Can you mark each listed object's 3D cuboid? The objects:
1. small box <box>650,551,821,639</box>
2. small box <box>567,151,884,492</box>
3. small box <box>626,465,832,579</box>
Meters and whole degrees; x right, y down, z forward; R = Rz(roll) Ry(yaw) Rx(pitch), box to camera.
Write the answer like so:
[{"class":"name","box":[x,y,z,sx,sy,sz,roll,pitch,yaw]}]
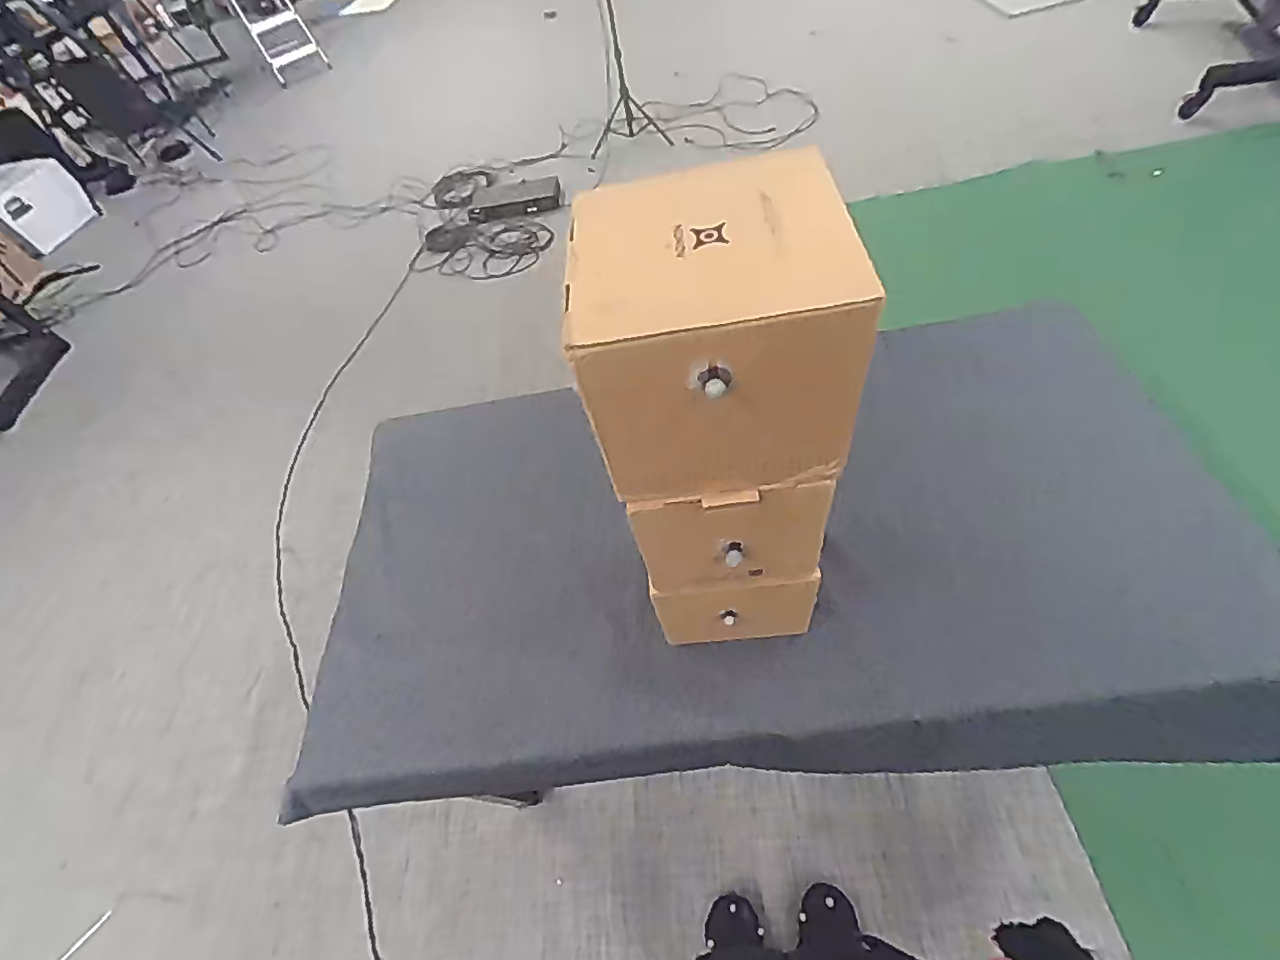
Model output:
[{"class":"small box","box":[0.108,0.085,0.661,0.179,0.176,0.168,-8,55,7]},{"class":"small box","box":[0.055,-0.105,0.402,0.179,0.176,0.168,-7,56,6]},{"class":"small box","box":[0.080,-0.012,0.534,0.168,0.176,0.179,-8,55,6]}]
